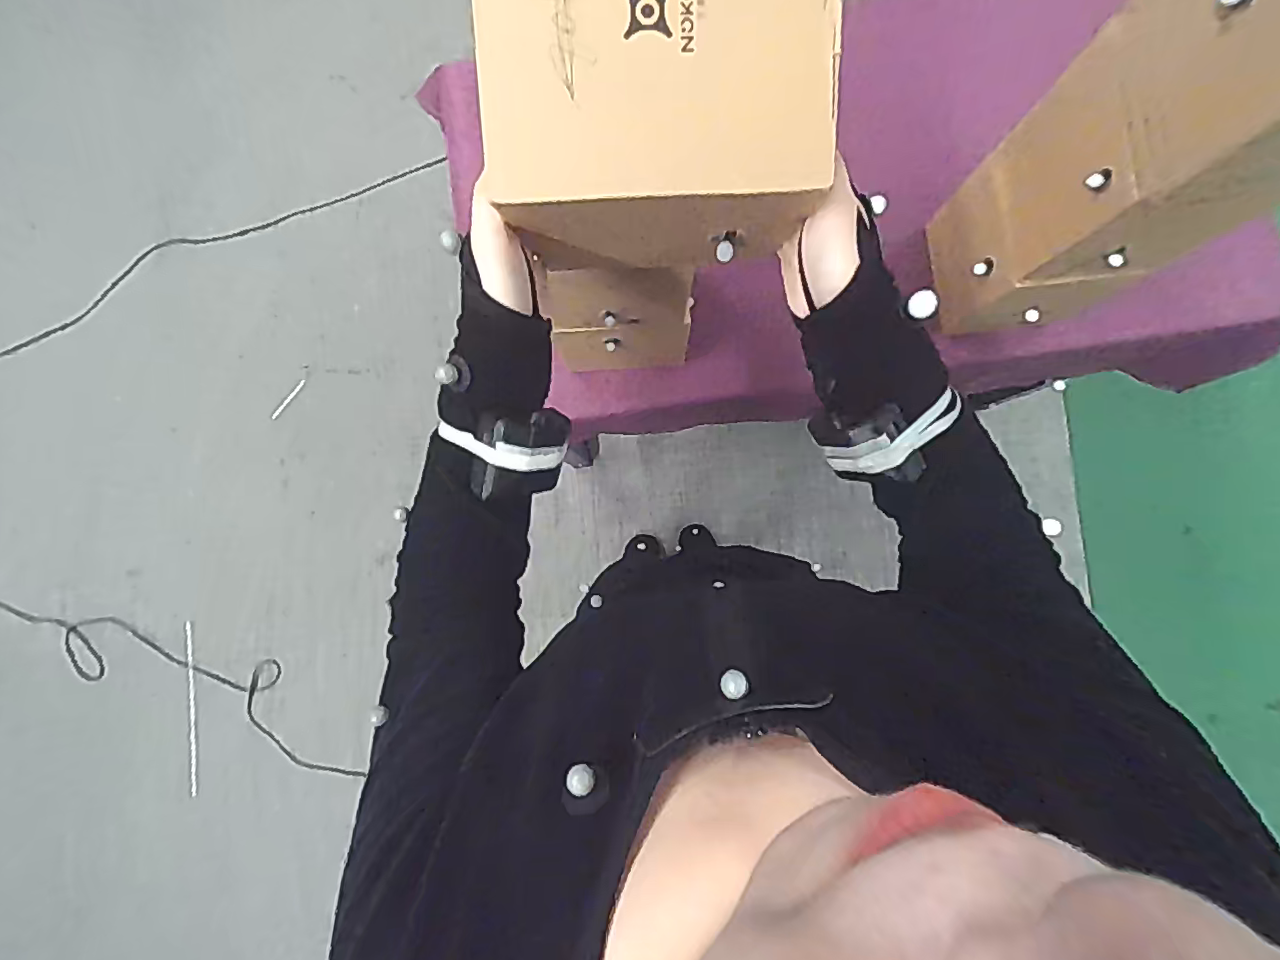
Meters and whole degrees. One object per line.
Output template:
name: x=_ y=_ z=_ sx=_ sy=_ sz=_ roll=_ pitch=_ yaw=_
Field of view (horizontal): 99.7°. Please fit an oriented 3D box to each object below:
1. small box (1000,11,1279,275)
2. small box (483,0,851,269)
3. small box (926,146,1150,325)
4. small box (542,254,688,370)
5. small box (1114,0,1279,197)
small box: x=0.512 y=-0.341 z=0.562 sx=0.168 sy=0.176 sz=0.179 roll=-7 pitch=87 yaw=1
small box: x=0.013 y=-0.232 z=0.333 sx=0.179 sy=0.176 sz=0.168 roll=-2 pitch=101 yaw=1
small box: x=0.514 y=-0.320 z=0.724 sx=0.168 sy=0.176 sz=0.179 roll=-7 pitch=85 yaw=1
small box: x=-0.030 y=-0.256 z=0.739 sx=0.179 sy=0.176 sz=0.168 roll=-4 pitch=85 yaw=1
small box: x=0.507 y=-0.350 z=0.398 sx=0.168 sy=0.176 sz=0.179 roll=-10 pitch=85 yaw=2
